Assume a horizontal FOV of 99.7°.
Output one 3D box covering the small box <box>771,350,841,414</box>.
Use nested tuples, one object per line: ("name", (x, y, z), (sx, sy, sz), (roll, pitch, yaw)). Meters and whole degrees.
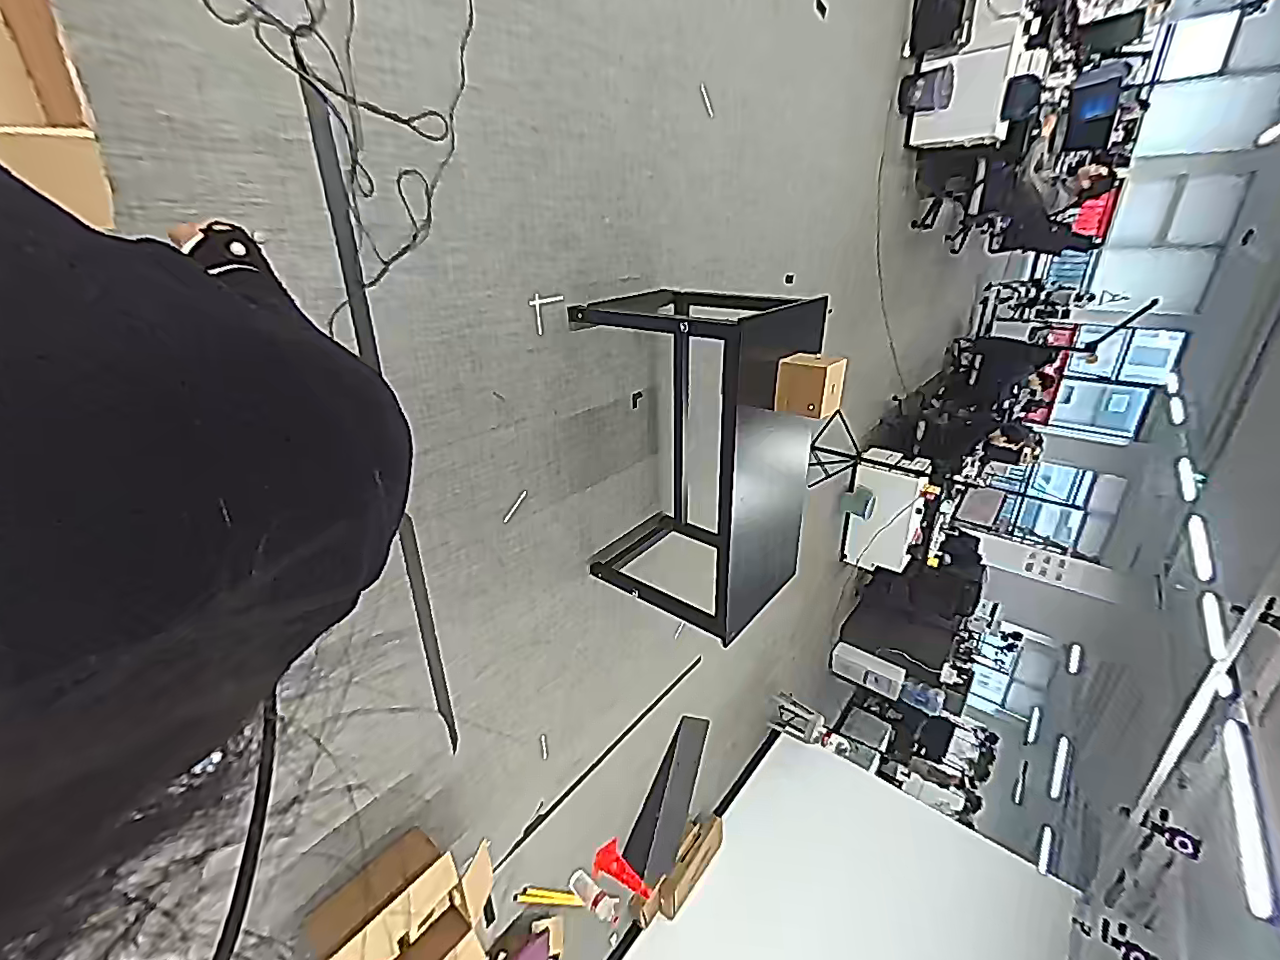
("small box", (0.553, -0.335, 1.813), (0.168, 0.176, 0.179), (-27, 125, -44))
